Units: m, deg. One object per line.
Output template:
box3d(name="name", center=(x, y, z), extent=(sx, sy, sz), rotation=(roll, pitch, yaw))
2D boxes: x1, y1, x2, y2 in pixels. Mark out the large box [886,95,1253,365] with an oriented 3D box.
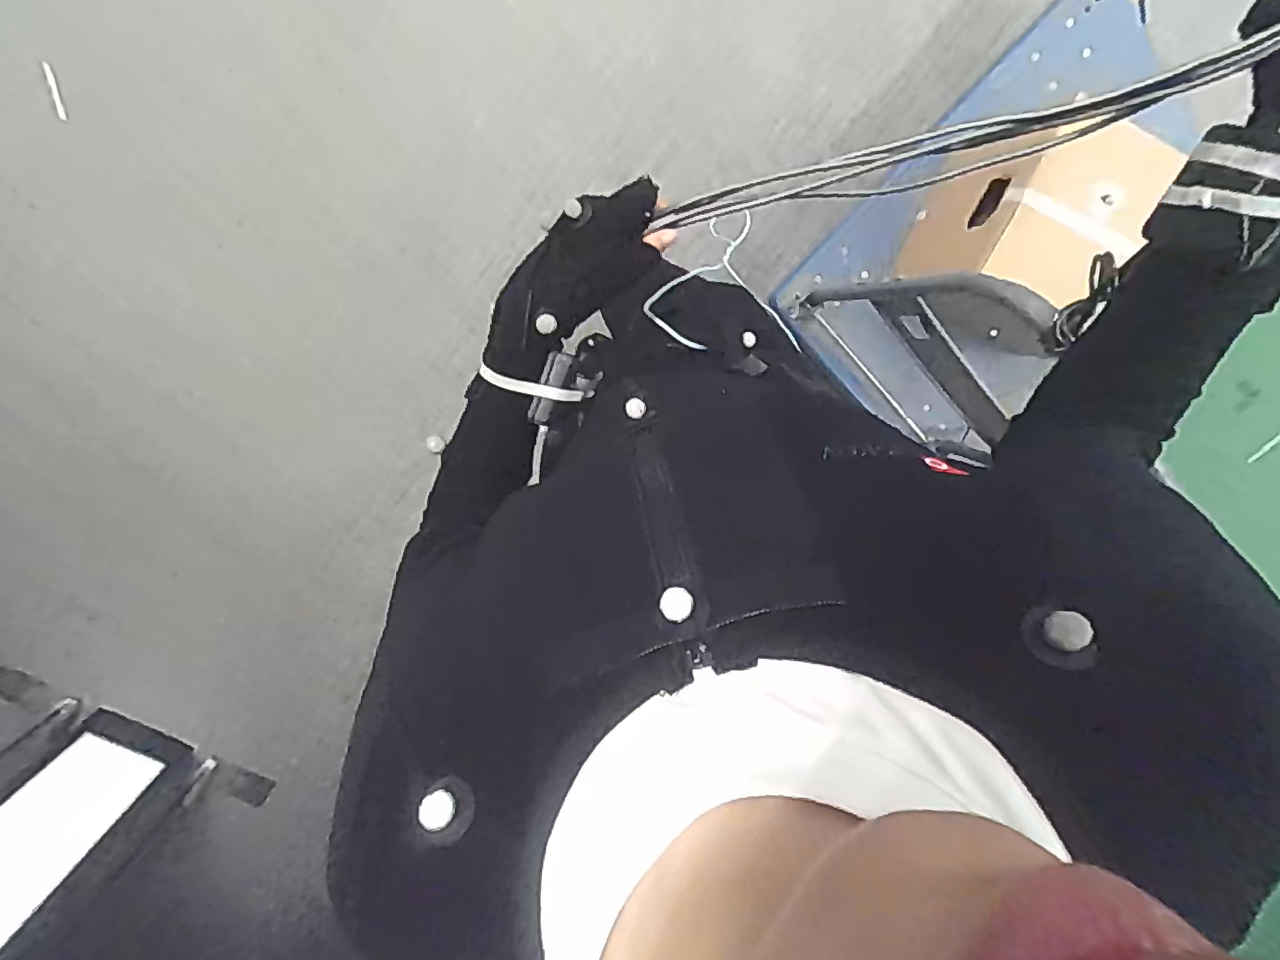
box3d(name="large box", center=(0.794, -0.461, 1.065), extent=(0.408, 0.320, 0.320), rotation=(20, 107, -10))
